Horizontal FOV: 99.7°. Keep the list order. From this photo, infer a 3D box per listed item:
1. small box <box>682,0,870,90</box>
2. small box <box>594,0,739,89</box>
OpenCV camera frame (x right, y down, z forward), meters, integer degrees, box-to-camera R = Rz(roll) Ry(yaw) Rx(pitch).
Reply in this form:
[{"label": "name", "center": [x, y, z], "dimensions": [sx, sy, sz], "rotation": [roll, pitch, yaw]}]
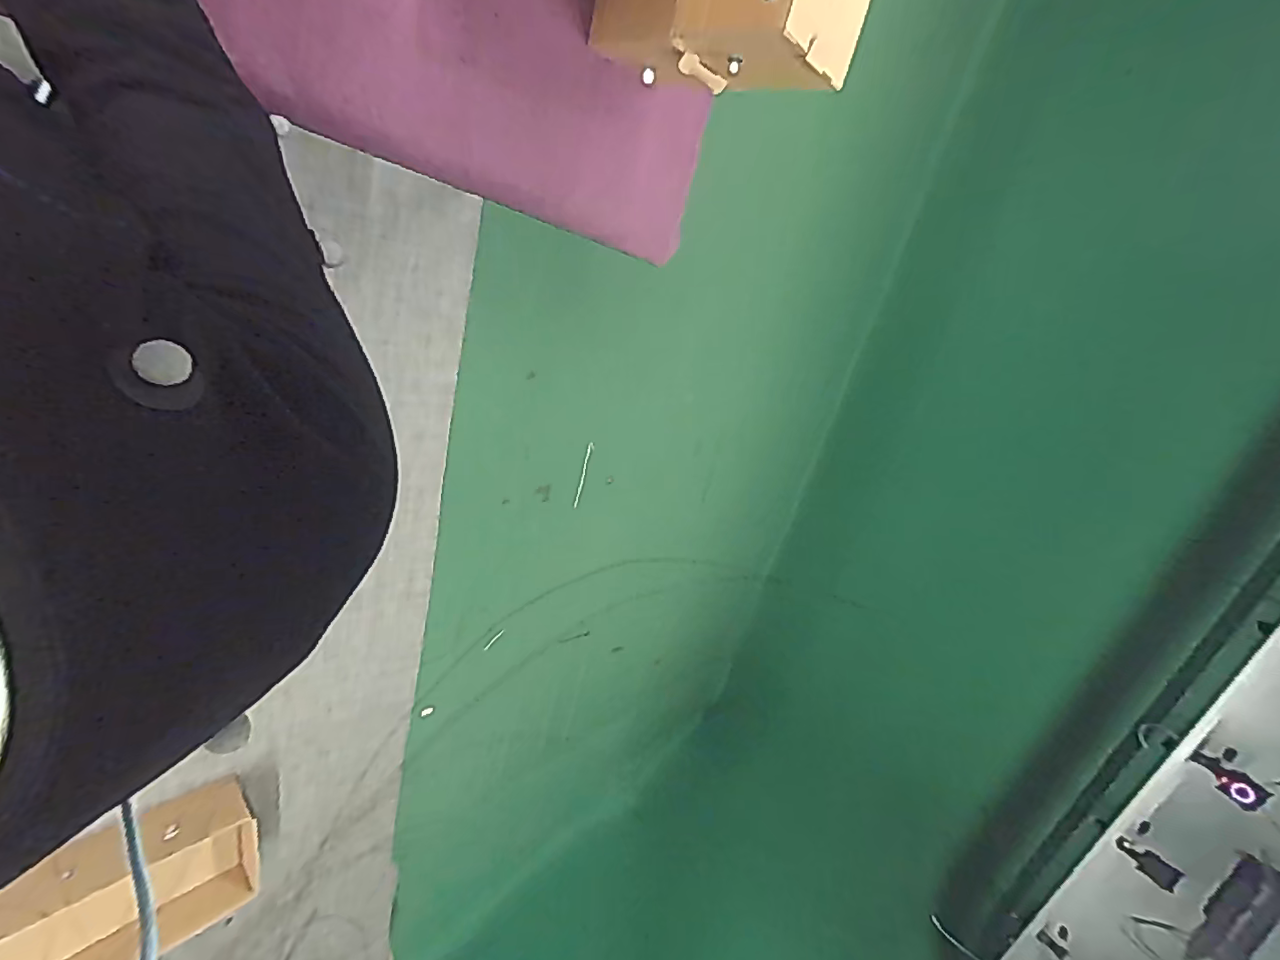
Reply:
[{"label": "small box", "center": [0.175, -0.621, 0.673], "dimensions": [0.168, 0.176, 0.179], "rotation": [-12, 125, -48]}, {"label": "small box", "center": [0.055, -0.685, 0.763], "dimensions": [0.168, 0.176, 0.179], "rotation": [-12, 124, -47]}]
